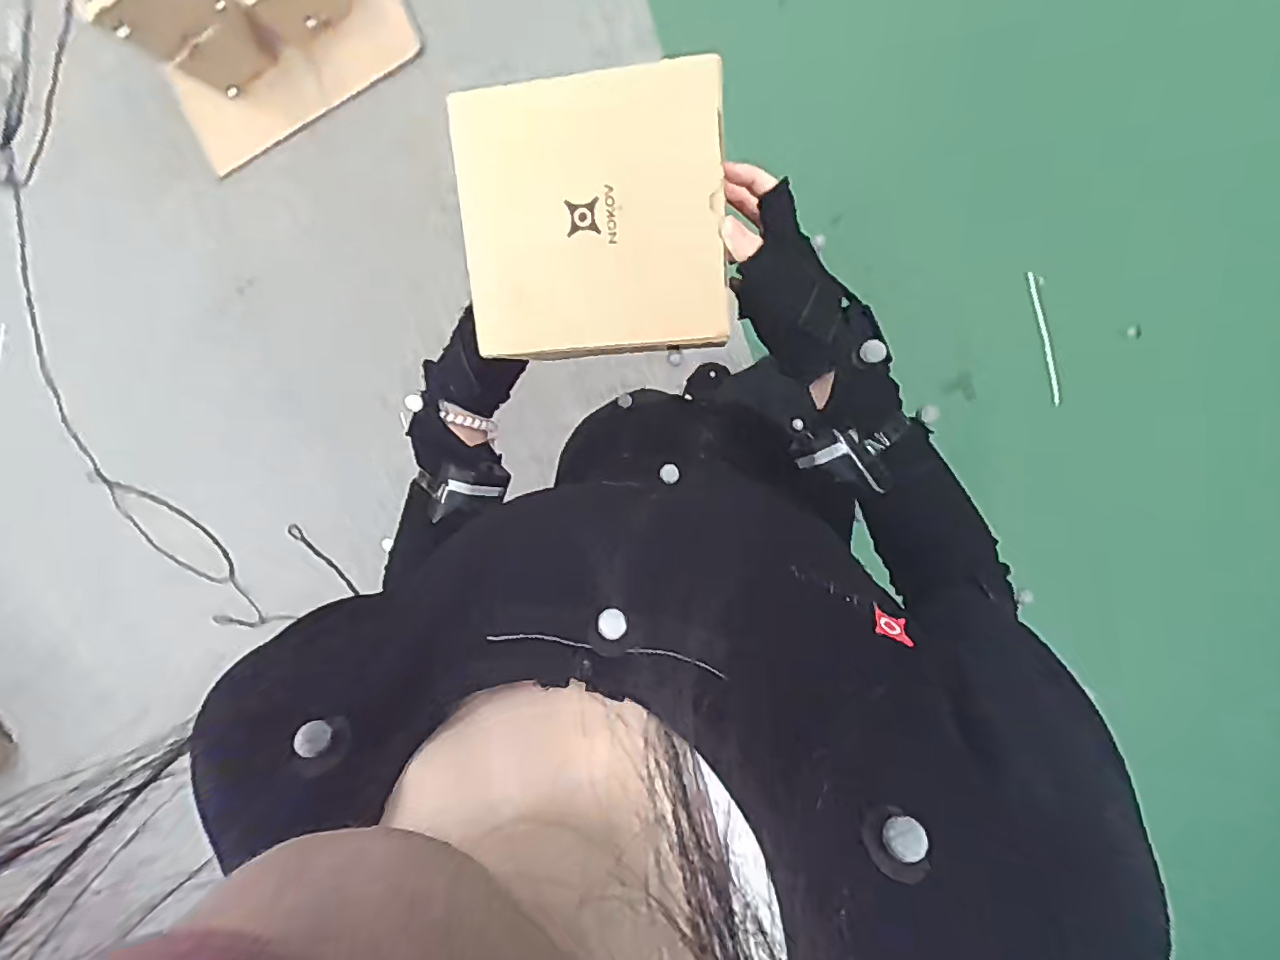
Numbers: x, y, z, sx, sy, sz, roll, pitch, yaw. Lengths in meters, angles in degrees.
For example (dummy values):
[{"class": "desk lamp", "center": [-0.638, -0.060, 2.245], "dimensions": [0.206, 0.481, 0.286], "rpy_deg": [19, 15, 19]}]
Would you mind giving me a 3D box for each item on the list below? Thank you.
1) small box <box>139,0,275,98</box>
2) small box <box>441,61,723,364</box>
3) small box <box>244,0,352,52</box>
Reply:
[{"class": "small box", "center": [-1.068, -1.100, 1.349], "dimensions": [0.168, 0.176, 0.179], "rpy_deg": [-25, 96, 13]}, {"class": "small box", "center": [-0.026, -0.183, 0.429], "dimensions": [0.179, 0.176, 0.168], "rpy_deg": [-4, 102, 8]}, {"class": "small box", "center": [-0.841, -1.195, 1.297], "dimensions": [0.168, 0.176, 0.179], "rpy_deg": [-20, 97, 13]}]
